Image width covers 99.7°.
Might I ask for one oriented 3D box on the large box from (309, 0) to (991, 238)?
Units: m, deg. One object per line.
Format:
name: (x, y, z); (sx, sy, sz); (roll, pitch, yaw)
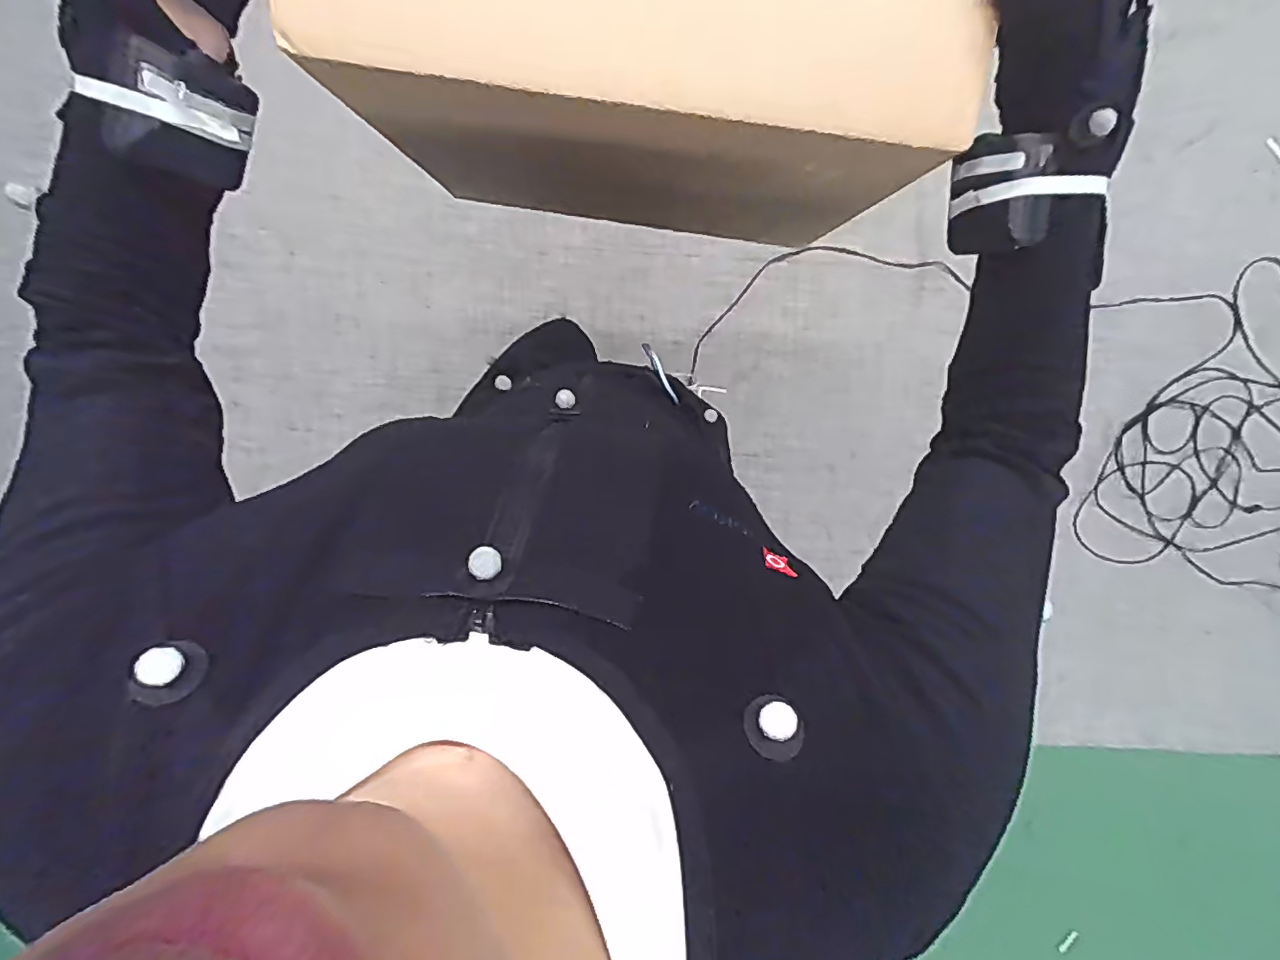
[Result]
large box: (0.015, -0.409, 0.437); (0.408, 0.320, 0.320); (7, 104, -2)
